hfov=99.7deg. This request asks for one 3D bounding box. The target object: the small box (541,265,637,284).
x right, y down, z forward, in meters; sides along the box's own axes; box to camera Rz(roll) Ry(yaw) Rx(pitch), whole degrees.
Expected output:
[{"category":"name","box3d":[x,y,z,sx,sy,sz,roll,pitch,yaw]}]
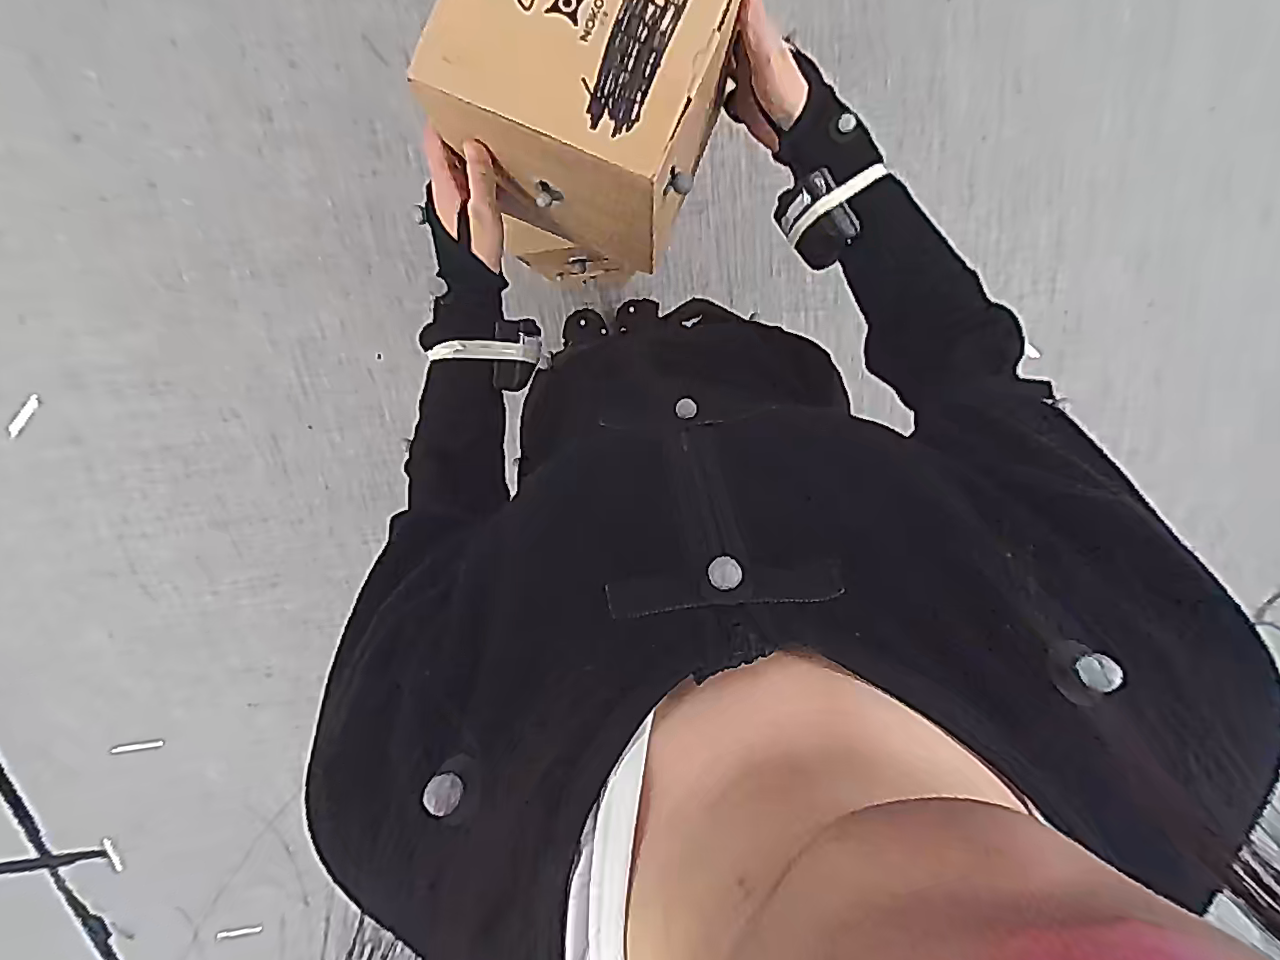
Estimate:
[{"category":"small box","box3d":[-0.095,-0.445,0.958,0.168,0.176,0.179,-6,108,-2]}]

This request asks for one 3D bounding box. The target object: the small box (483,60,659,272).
[{"category":"small box","box3d":[-0.074,-0.355,0.645,0.168,0.176,0.179,-8,108,0]}]
